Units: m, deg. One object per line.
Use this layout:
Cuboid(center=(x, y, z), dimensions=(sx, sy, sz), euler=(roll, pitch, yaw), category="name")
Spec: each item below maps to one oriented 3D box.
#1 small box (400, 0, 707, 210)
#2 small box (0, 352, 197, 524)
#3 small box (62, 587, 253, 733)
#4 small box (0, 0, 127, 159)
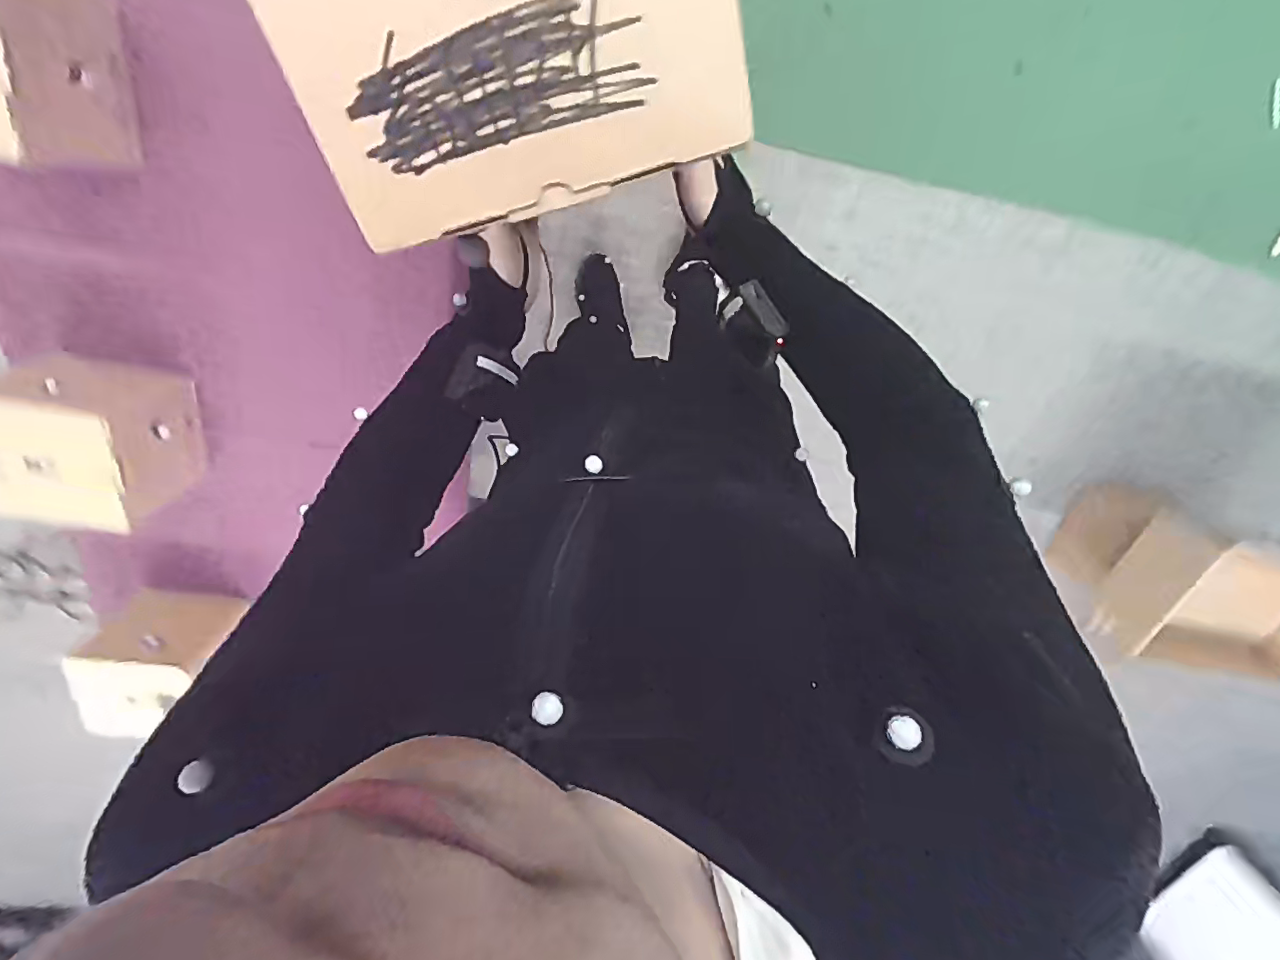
Cuboid(center=(-0.059, -0.314, 0.391), dimensions=(0.168, 0.176, 0.179), euler=(-14, 120, 6), category="small box")
Cuboid(center=(-0.746, -0.063, 0.735), dimensions=(0.179, 0.176, 0.168), euler=(10, 116, -10), category="small box")
Cuboid(center=(-0.797, 0.301, 0.922), dimensions=(0.179, 0.176, 0.168), euler=(8, 116, -8), category="small box")
Cuboid(center=(-0.669, -0.434, 0.540), dimensions=(0.179, 0.176, 0.168), euler=(8, 117, -11), category="small box")
